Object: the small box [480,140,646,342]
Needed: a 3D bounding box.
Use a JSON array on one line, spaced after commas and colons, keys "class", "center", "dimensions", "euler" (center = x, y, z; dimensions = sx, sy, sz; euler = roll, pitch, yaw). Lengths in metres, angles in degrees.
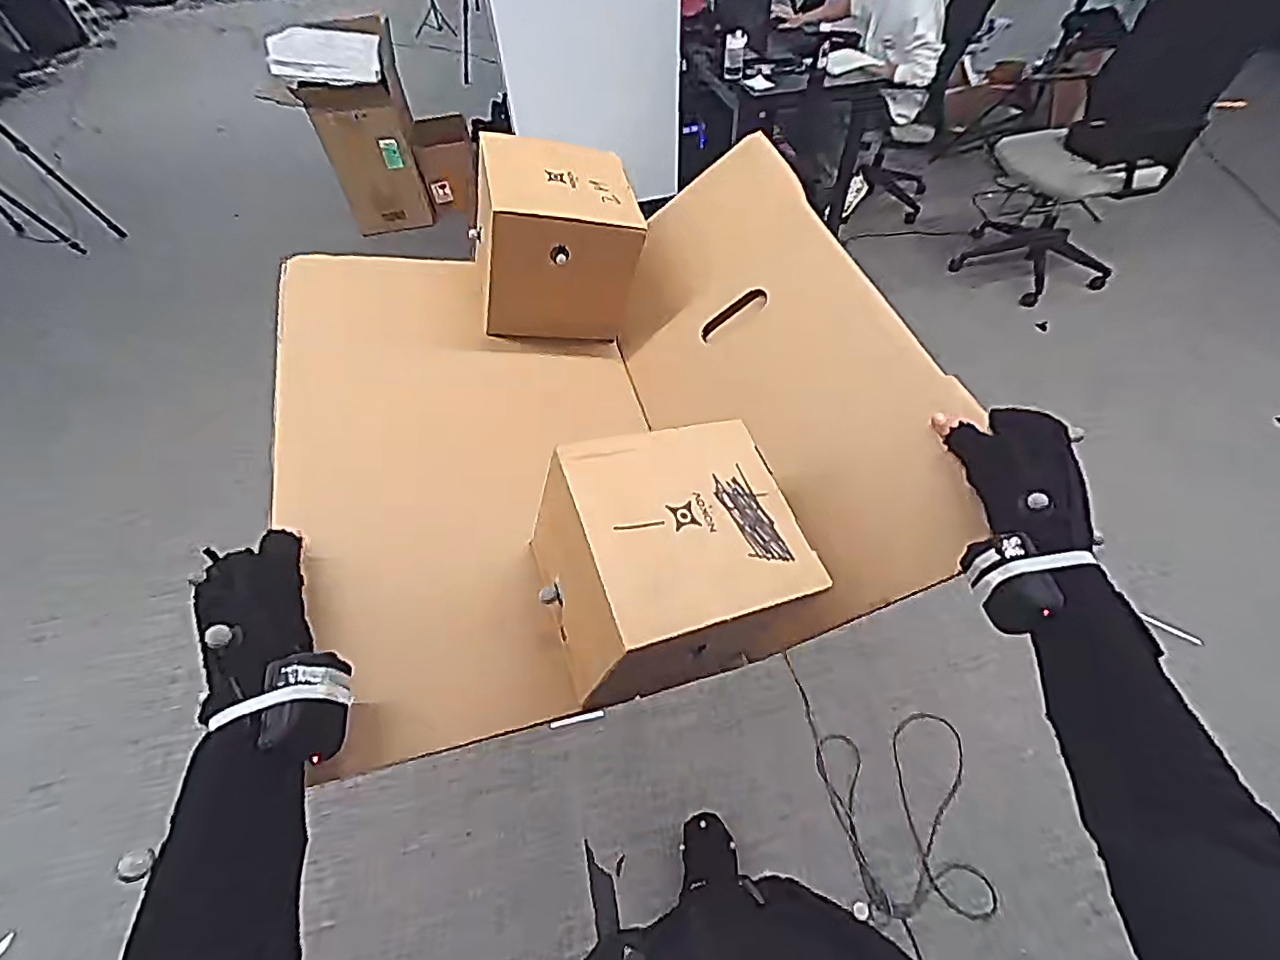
[{"class": "small box", "center": [-0.111, -0.296, 0.692], "dimensions": [0.179, 0.176, 0.168], "euler": [-2, 57, -20]}]
